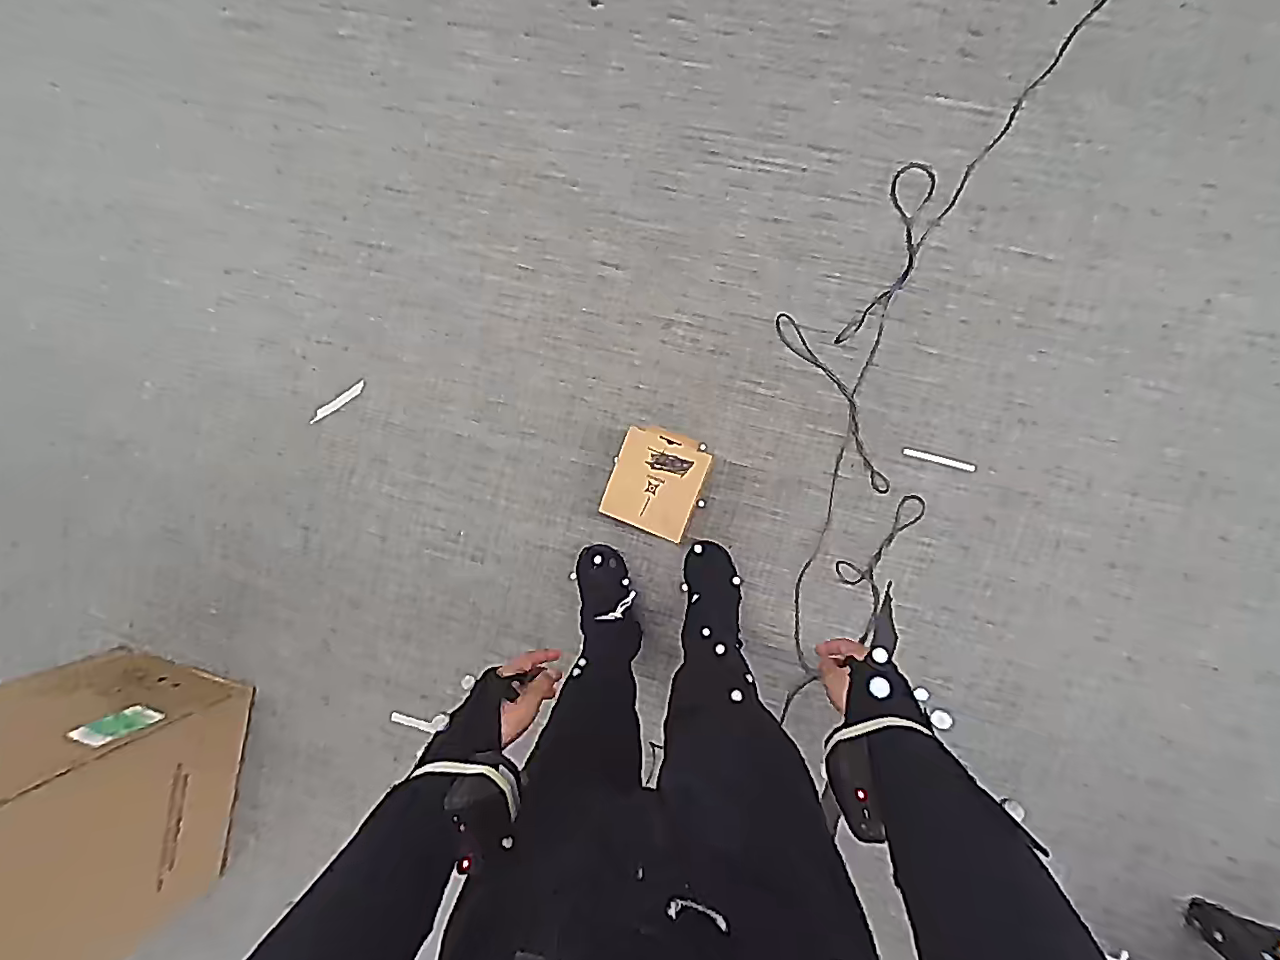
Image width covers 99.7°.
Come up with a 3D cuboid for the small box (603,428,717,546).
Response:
[{"bbox_3d":[0.046,0.009,1.077,0.168,0.176,0.179,22,96,8],"label":"small box"}]
